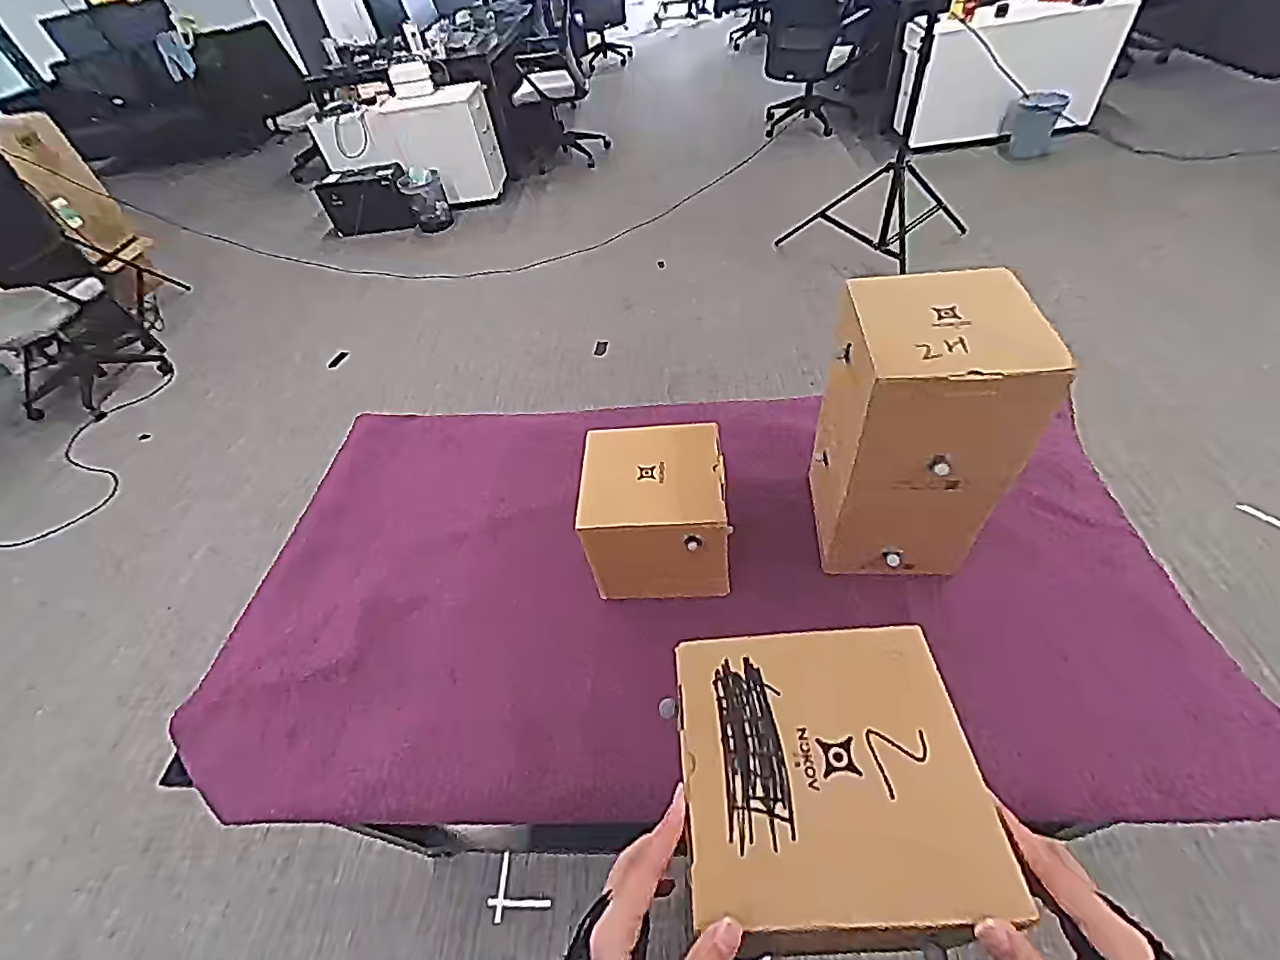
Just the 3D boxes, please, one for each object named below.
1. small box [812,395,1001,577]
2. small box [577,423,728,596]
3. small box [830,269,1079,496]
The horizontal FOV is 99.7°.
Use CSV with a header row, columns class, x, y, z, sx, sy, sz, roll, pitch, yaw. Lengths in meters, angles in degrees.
class,x,y,z,sx,sy,sz,roll,pitch,yaw
small box,0.325,0.006,0.705,0.168,0.176,0.179,-1,49,9
small box,0.025,0.044,0.723,0.179,0.176,0.168,-3,48,6
small box,0.308,-0.102,0.581,0.168,0.176,0.179,-1,49,9
